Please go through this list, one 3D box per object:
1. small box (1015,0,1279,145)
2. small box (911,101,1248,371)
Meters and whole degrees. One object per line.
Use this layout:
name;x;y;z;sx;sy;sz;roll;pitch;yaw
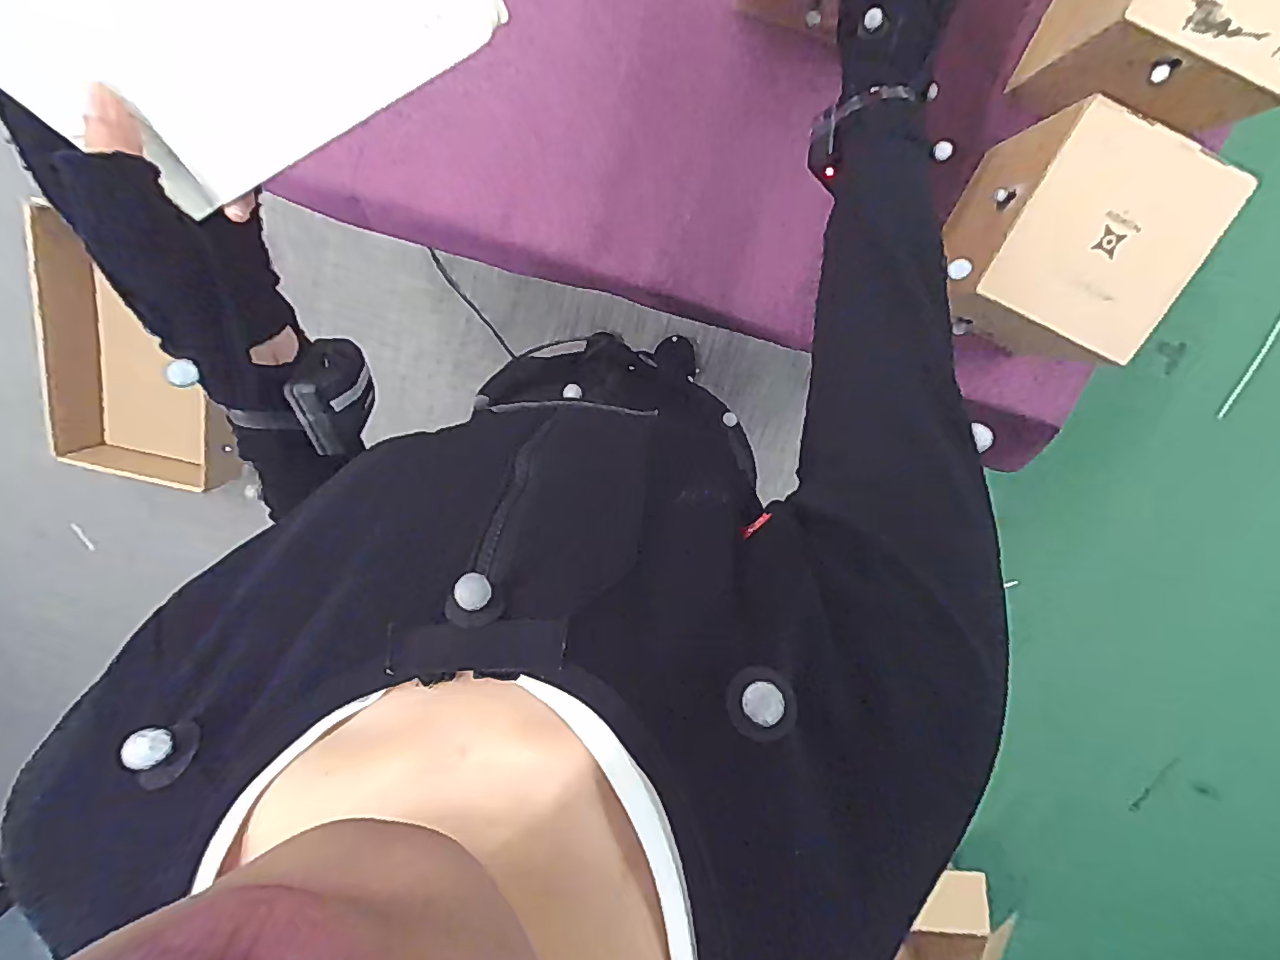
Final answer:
small box;0.497;-0.434;0.491;0.168;0.176;0.179;23;107;-4
small box;0.420;-0.234;0.558;0.168;0.176;0.179;25;107;-5
